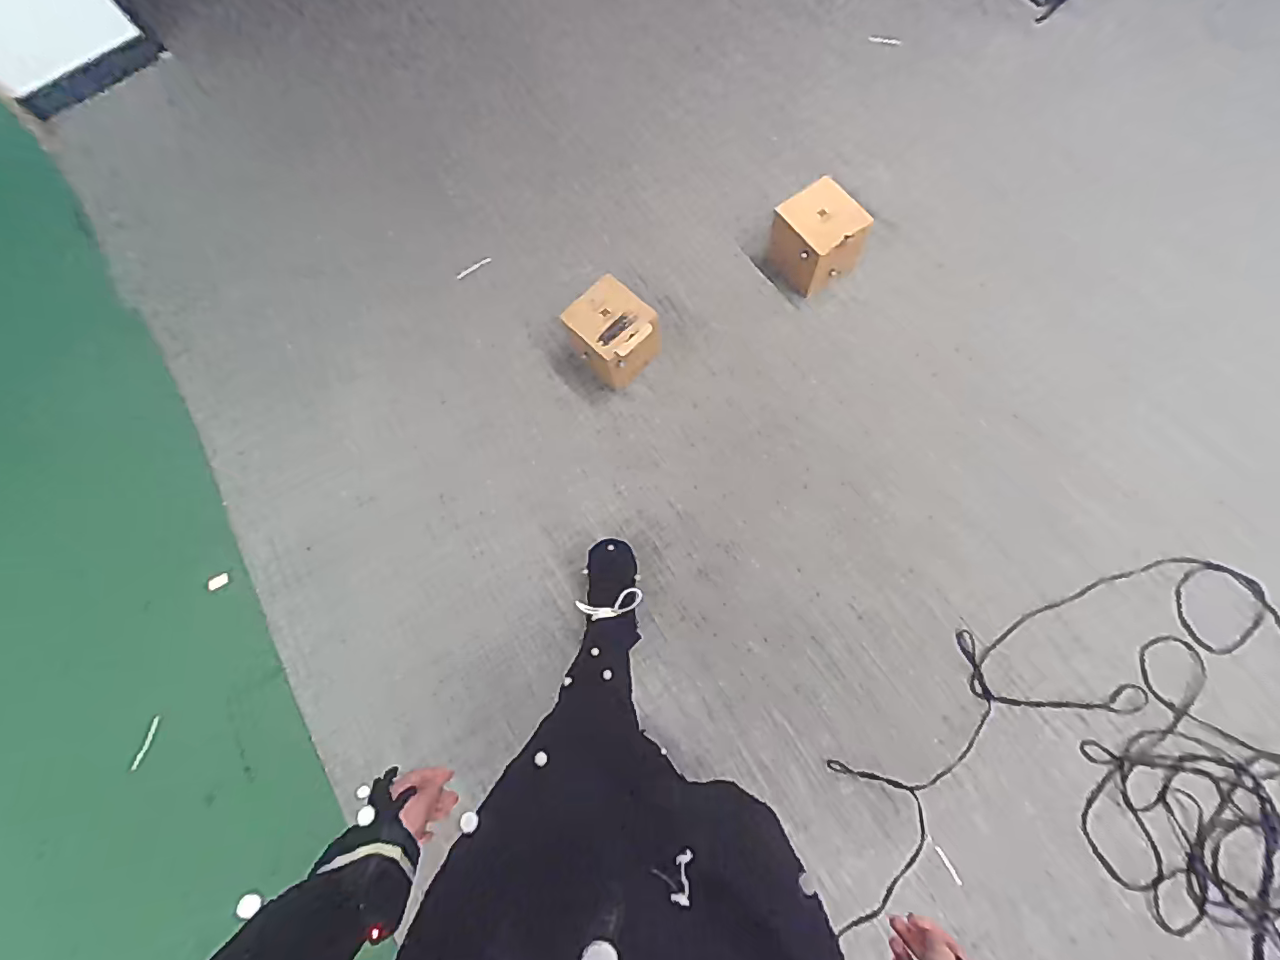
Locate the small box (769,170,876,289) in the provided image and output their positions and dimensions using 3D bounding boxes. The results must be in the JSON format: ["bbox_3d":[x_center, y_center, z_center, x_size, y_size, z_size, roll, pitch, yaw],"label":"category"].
[{"bbox_3d":[0.446,-0.622,1.358,0.168,0.176,0.179,-34,75,-6],"label":"small box"}]
